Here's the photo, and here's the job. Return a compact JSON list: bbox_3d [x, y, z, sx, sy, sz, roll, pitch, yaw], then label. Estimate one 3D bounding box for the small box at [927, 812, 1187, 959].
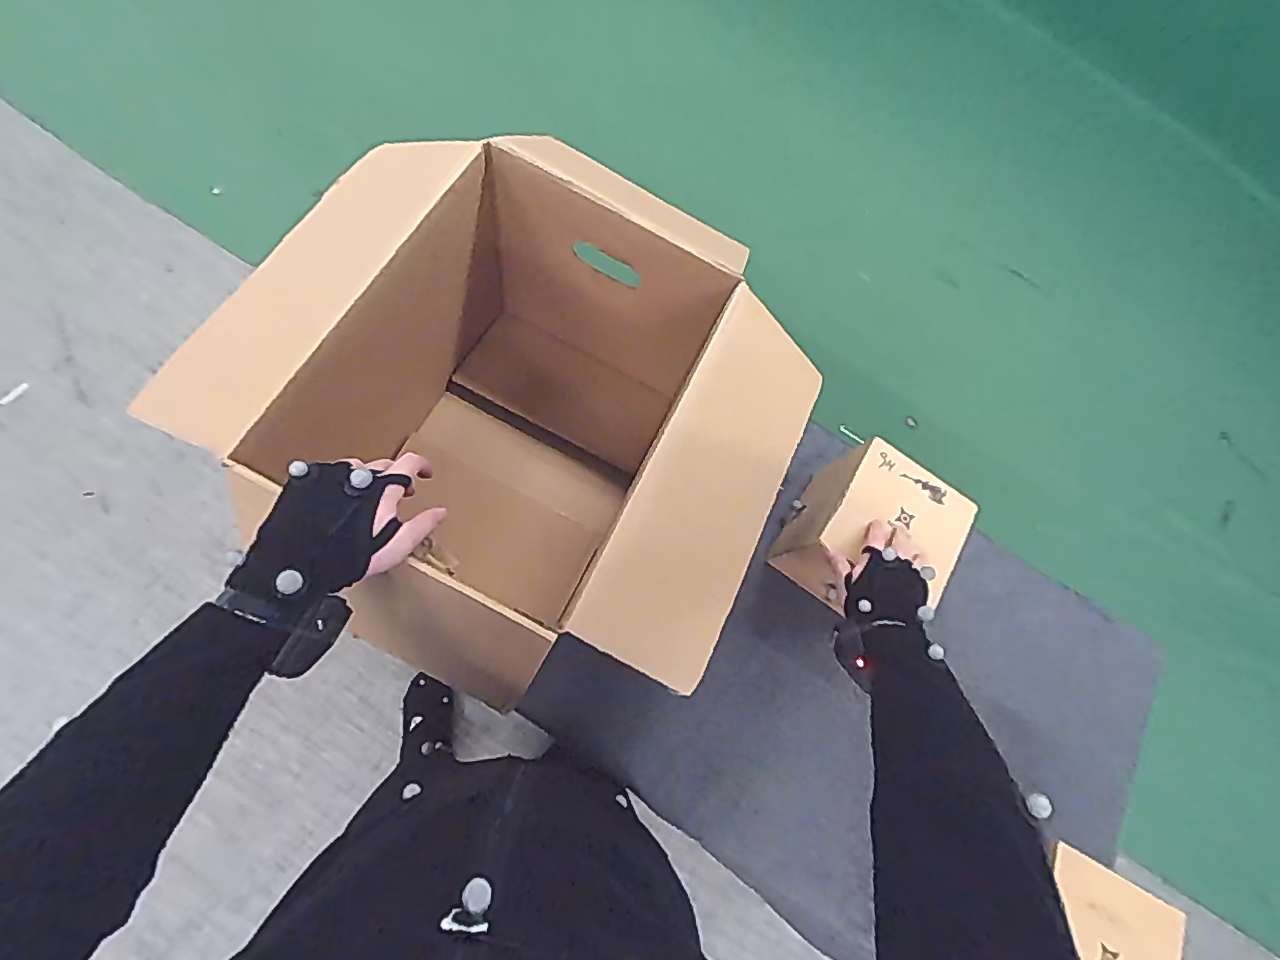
[{"bbox_3d":[0.481,0.541,0.645,0.168,0.176,0.179,31,69,1],"label":"small box"}]
